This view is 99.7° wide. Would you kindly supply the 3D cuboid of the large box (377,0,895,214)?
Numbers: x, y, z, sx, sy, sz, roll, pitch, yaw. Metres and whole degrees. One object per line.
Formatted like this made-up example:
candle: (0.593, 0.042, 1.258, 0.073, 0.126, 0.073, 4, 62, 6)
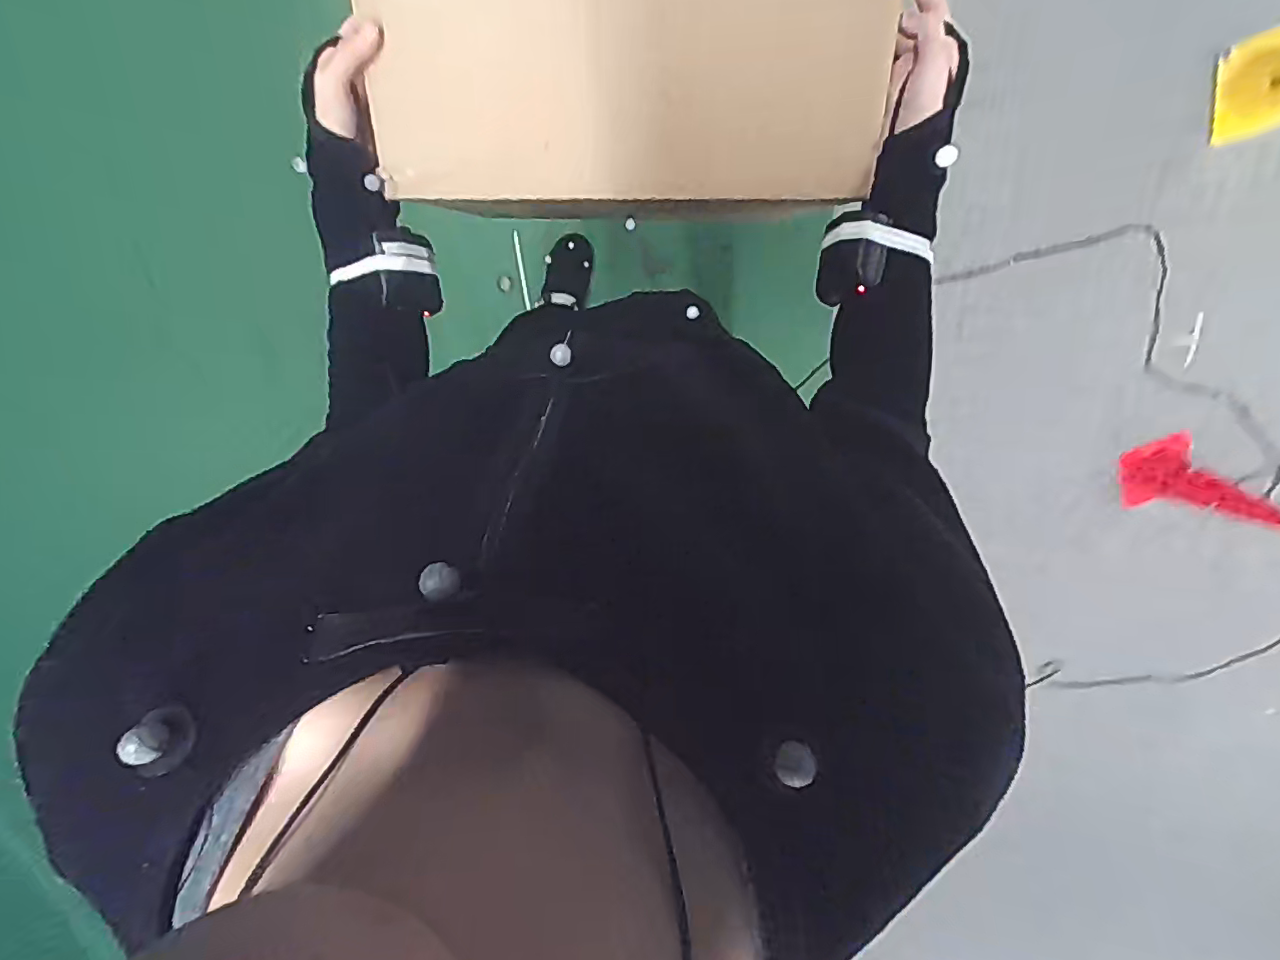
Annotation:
large box: (0.000, -0.443, 0.540, 0.408, 0.320, 0.320, 1, 112, 0)
